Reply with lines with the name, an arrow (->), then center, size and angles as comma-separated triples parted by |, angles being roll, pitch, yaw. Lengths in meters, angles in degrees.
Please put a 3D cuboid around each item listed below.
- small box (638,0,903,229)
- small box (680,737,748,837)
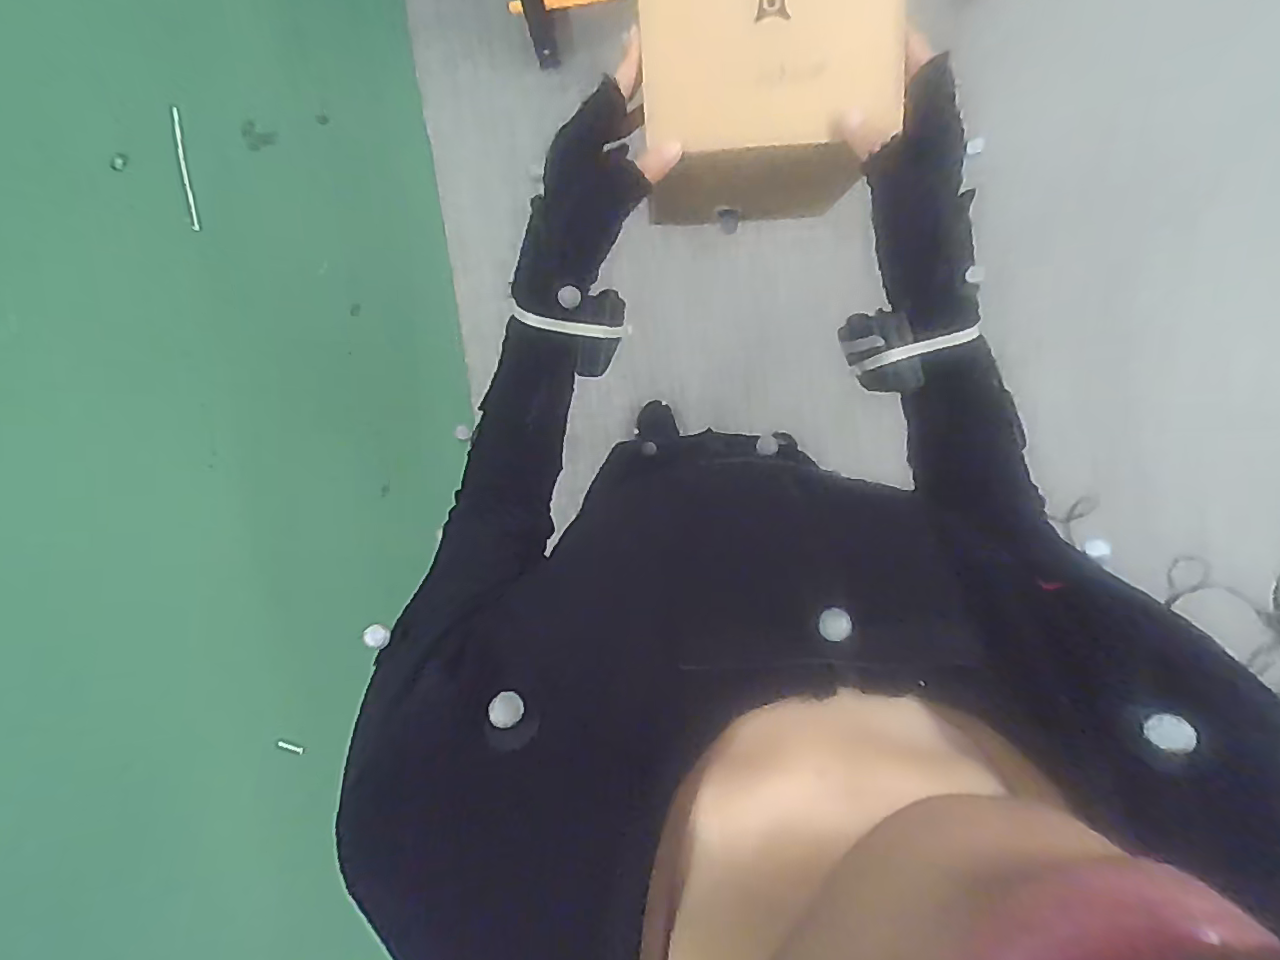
small box -> 0.082, -0.313, 0.415 | 0.168, 0.176, 0.179 | -3, 99, 2
small box -> 0.197, 0.820, 1.454 | 0.168, 0.176, 0.179 | -2, 94, 1
